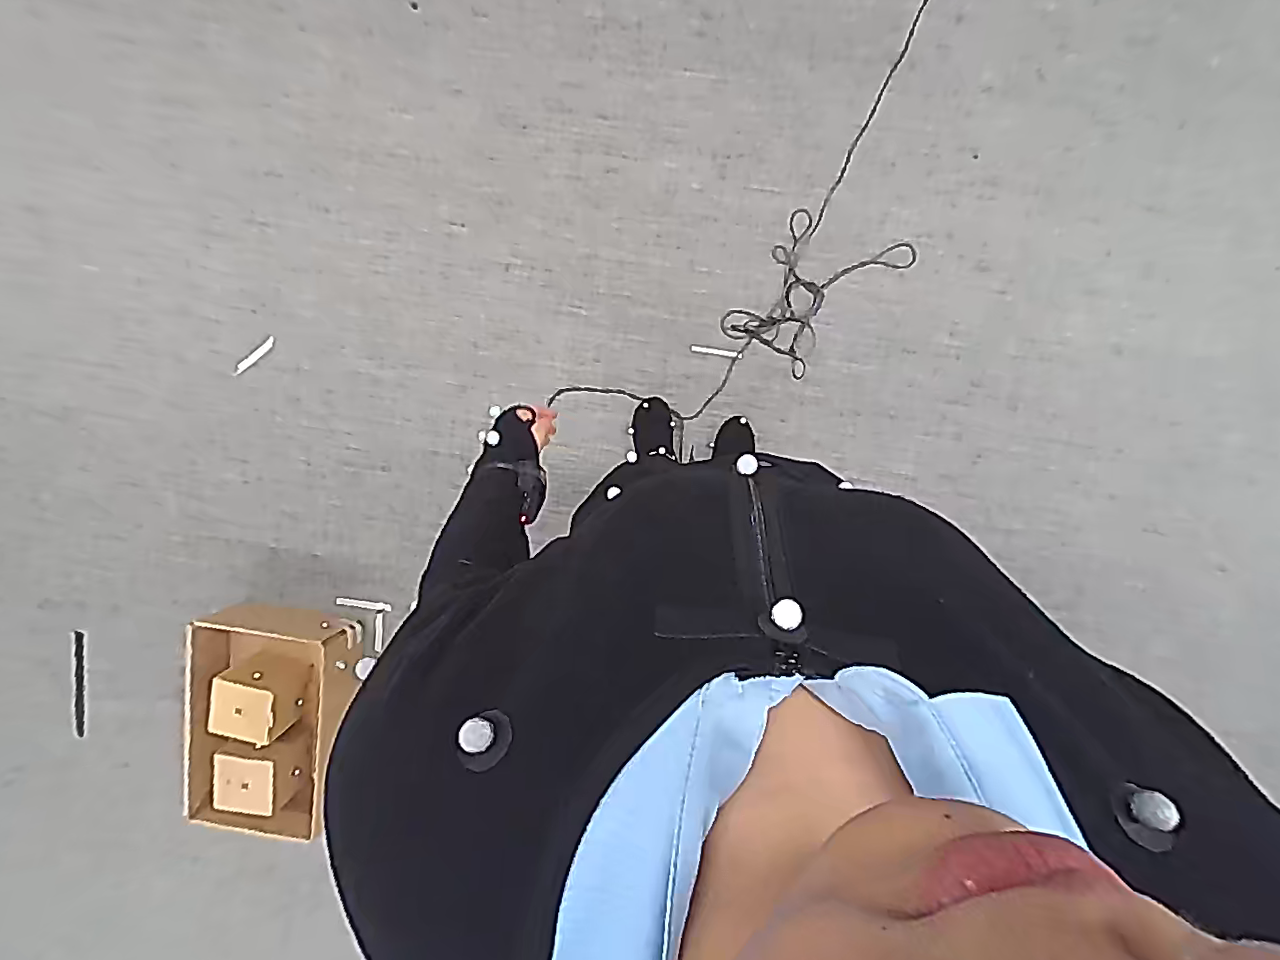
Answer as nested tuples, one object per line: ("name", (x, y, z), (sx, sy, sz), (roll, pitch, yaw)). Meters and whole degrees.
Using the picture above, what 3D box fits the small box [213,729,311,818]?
("small box", (-1.093, 0.842, 1.576), (0.179, 0.176, 0.168), (6, 96, 4))

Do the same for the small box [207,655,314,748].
("small box", (-1.084, 0.626, 1.552), (0.179, 0.176, 0.168), (13, 99, 2))
